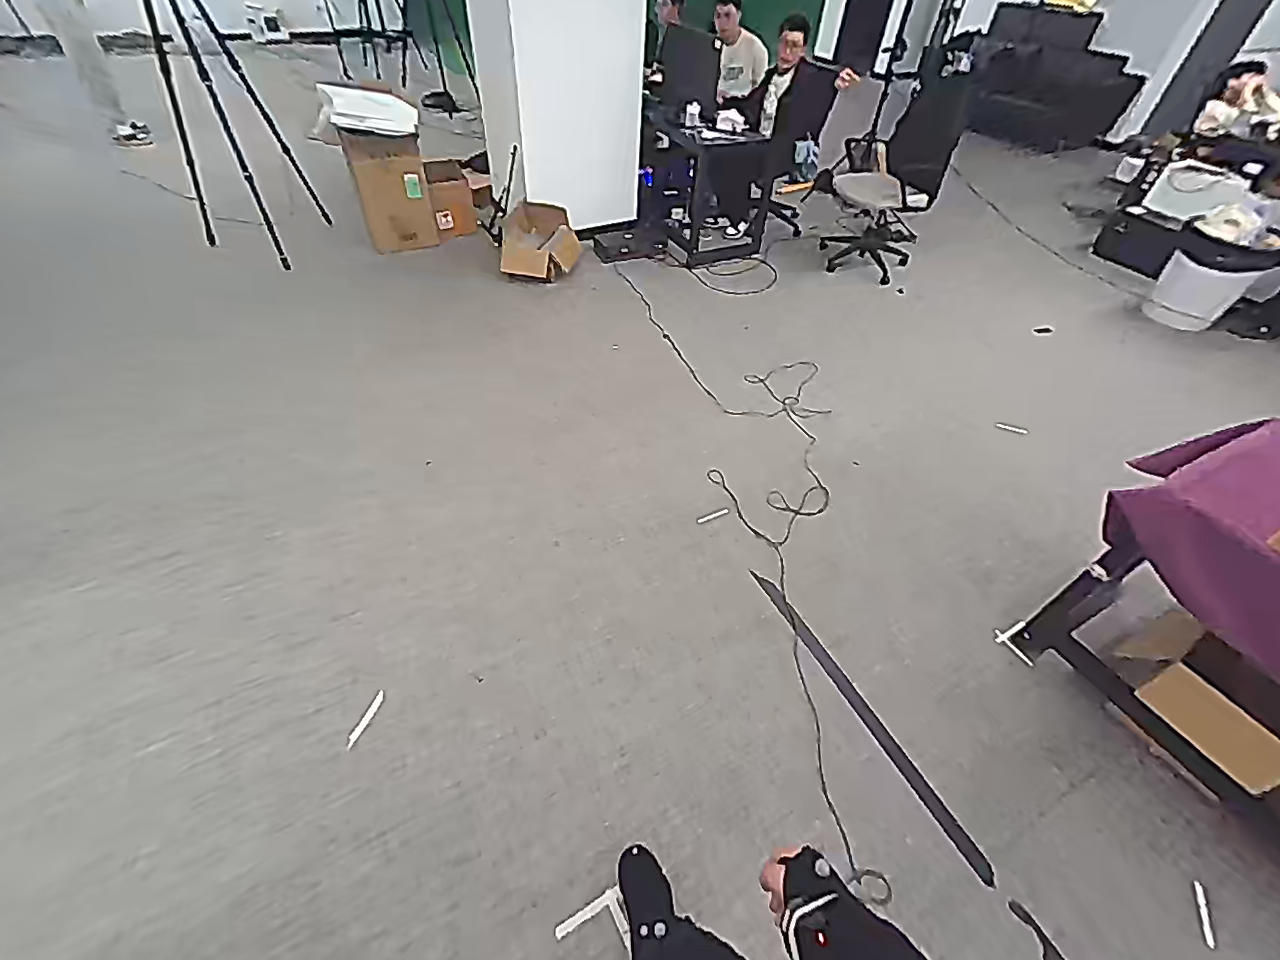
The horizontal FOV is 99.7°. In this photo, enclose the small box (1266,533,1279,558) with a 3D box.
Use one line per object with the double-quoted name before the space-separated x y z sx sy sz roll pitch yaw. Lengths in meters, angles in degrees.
"small box" 1.471 0.124 1.102 0.168 0.176 0.179 -20 51 -21
